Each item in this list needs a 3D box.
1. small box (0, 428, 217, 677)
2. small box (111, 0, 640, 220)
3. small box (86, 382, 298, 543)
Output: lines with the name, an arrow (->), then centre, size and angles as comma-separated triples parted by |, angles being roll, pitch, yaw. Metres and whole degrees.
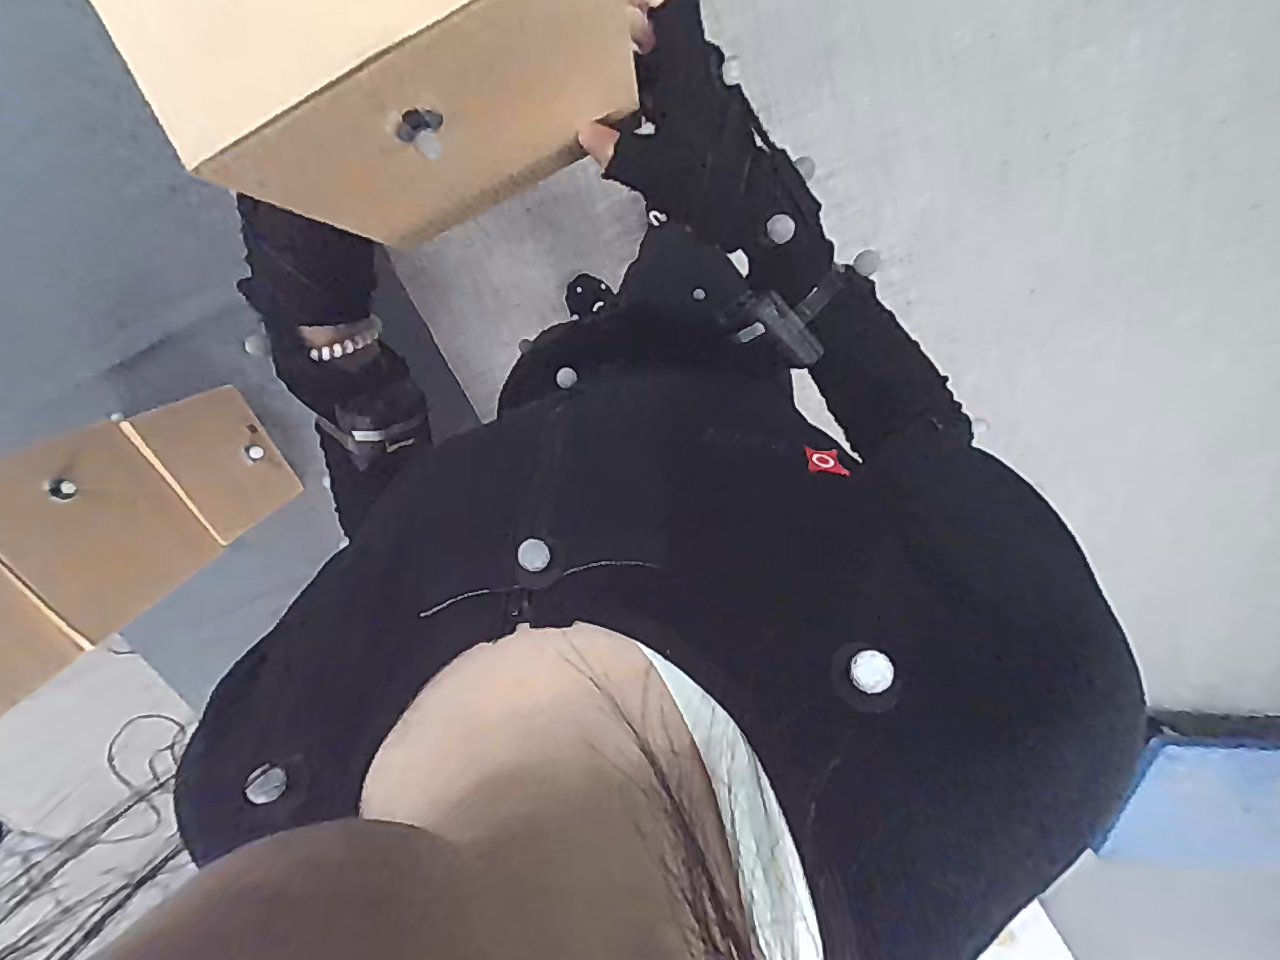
small box -> -0.585, 0.064, 0.528 | 0.168, 0.176, 0.179 | -21, 112, 10
small box -> -0.110, -0.245, 0.243 | 0.179, 0.176, 0.168 | -22, 102, 8
small box -> -0.585, -0.005, 0.675 | 0.179, 0.176, 0.168 | -19, 112, 7
